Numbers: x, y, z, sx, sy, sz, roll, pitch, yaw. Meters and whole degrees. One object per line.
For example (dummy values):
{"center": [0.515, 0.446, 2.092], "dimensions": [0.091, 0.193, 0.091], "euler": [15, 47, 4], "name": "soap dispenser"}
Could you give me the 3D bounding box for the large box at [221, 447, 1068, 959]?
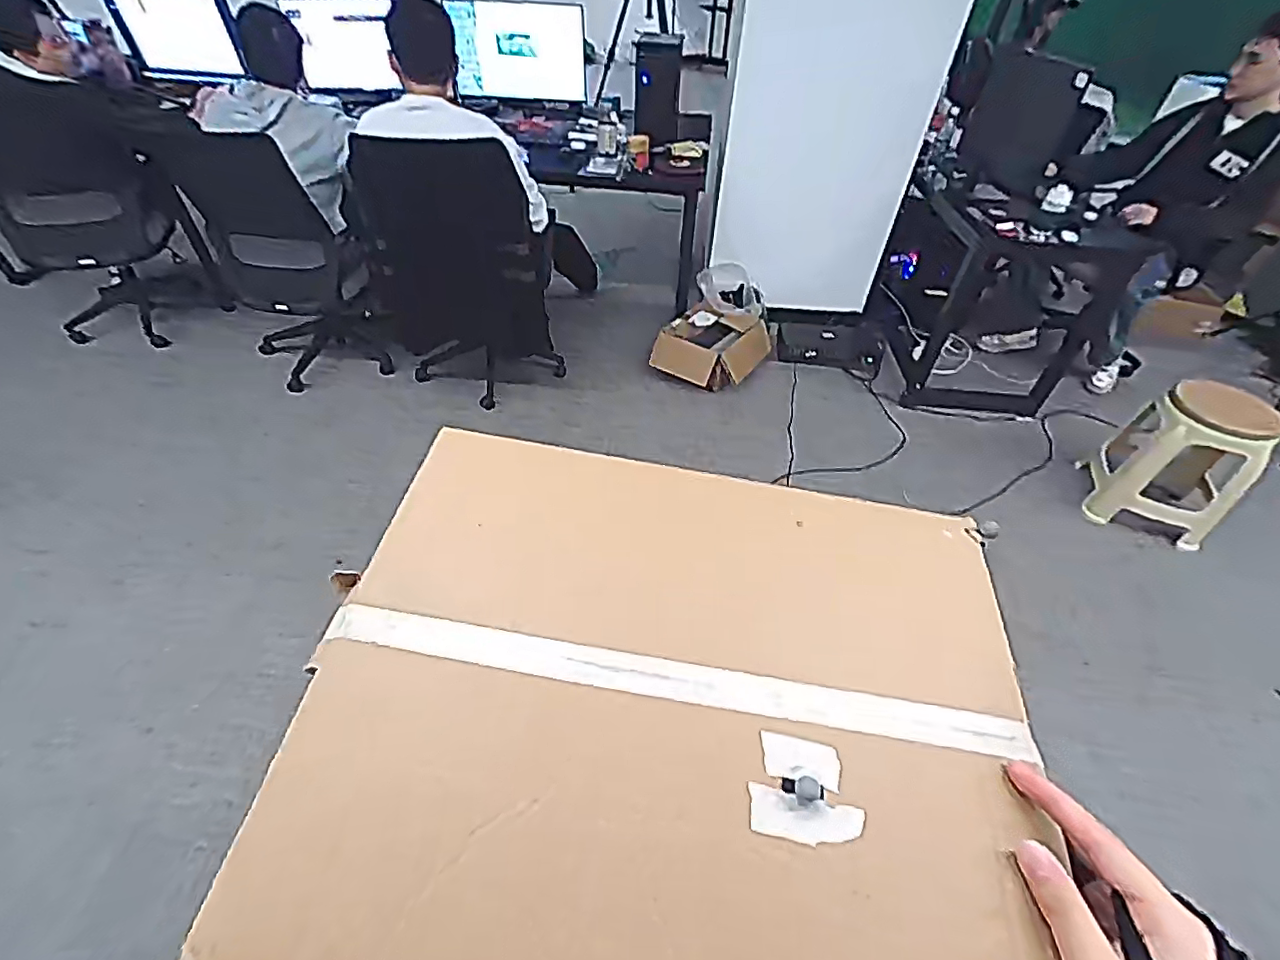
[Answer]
{"center": [0.013, 0.213, 0.444], "dimensions": [0.408, 0.320, 0.320], "euler": [10, 54, 1], "name": "large box"}
